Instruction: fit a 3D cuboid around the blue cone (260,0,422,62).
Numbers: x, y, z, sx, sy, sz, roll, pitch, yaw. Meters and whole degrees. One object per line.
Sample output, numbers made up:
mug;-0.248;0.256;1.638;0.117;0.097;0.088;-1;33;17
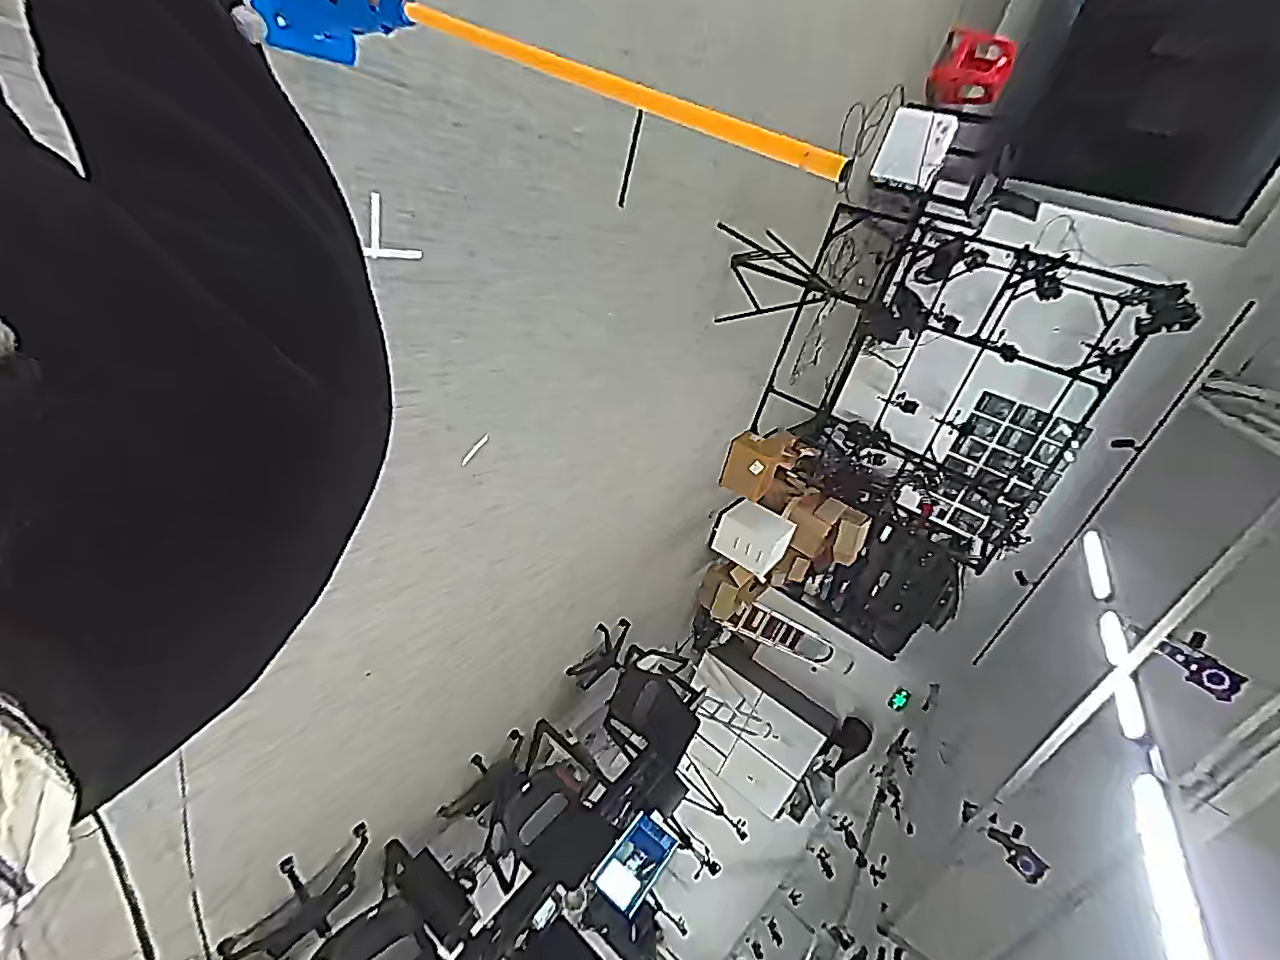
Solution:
blue cone;-0.539;-0.899;1.016;0.193;0.380;0.192;-27;139;-50
